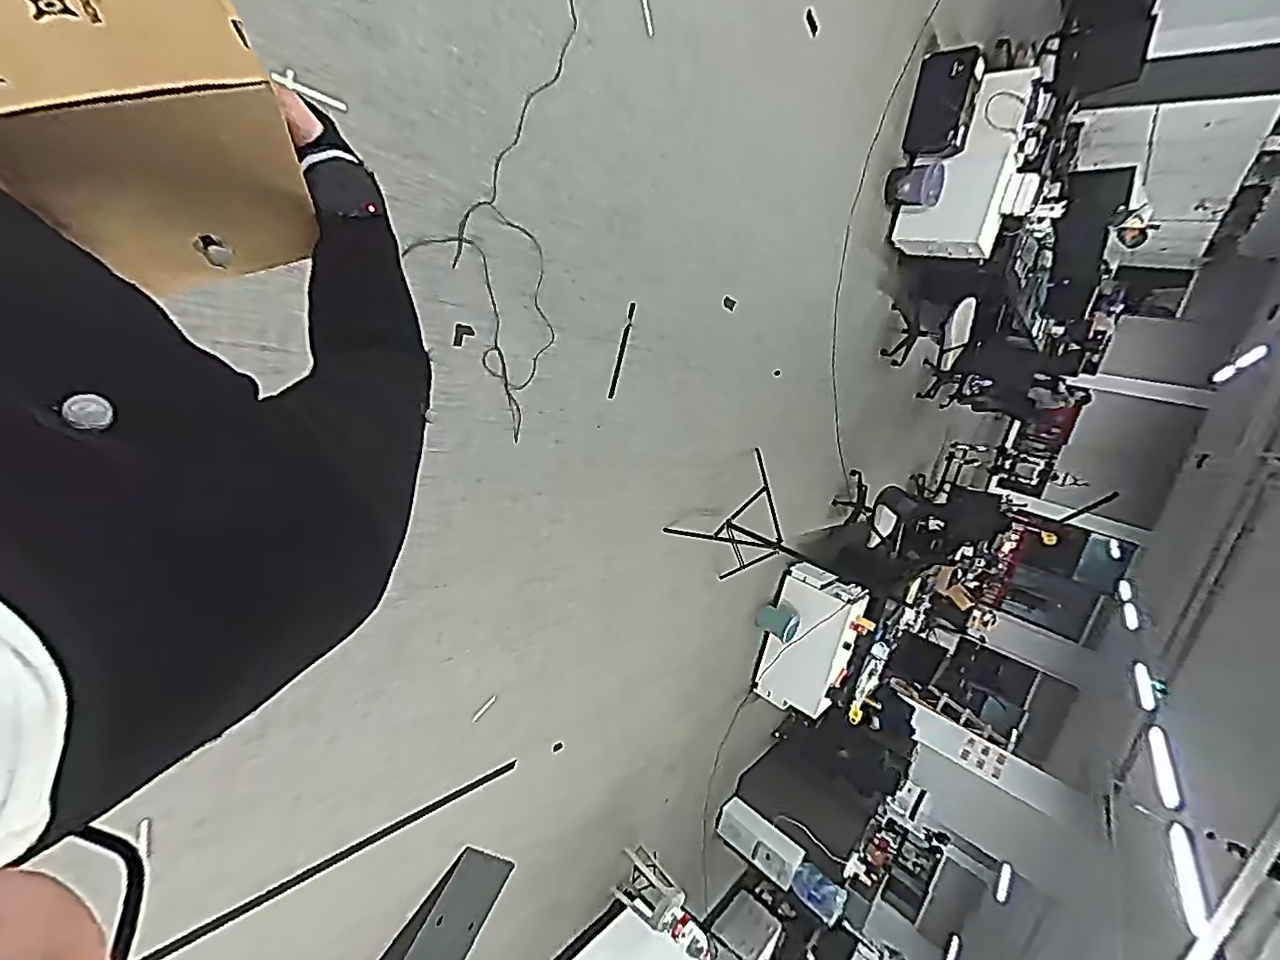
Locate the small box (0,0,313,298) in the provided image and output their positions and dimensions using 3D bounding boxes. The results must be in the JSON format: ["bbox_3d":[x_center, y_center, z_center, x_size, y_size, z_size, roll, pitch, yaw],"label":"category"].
[{"bbox_3d":[-0.396,-0.282,0.440,0.179,0.168,0.176,-29,170,-25],"label":"small box"}]
